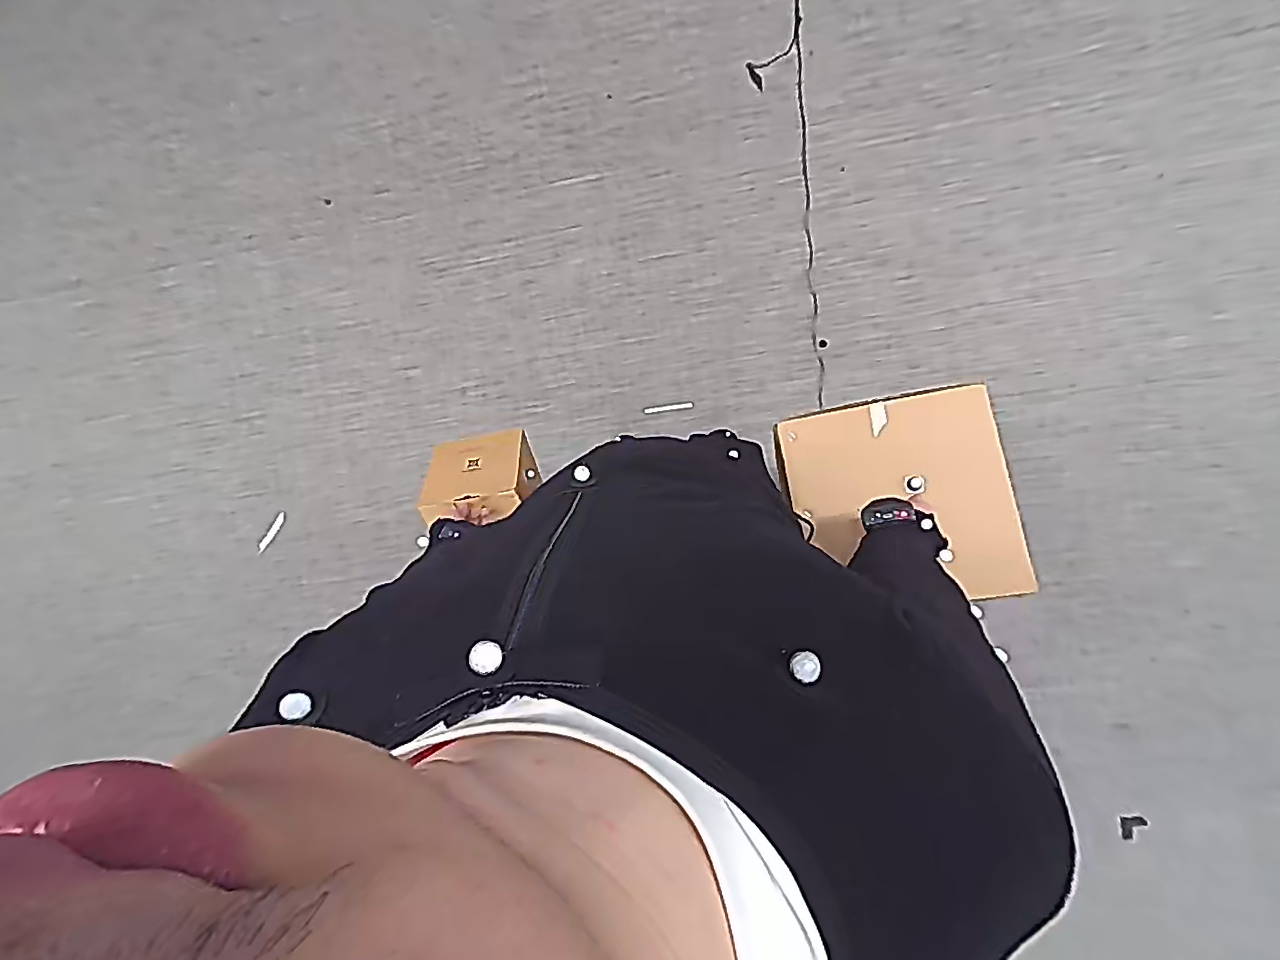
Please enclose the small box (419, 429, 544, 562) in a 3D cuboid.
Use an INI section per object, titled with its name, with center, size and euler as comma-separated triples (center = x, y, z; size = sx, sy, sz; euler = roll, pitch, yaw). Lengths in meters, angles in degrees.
[small box]
center = -0.279, 0.034, 0.998
size = 0.168, 0.179, 0.176
euler = -10, 131, 1
